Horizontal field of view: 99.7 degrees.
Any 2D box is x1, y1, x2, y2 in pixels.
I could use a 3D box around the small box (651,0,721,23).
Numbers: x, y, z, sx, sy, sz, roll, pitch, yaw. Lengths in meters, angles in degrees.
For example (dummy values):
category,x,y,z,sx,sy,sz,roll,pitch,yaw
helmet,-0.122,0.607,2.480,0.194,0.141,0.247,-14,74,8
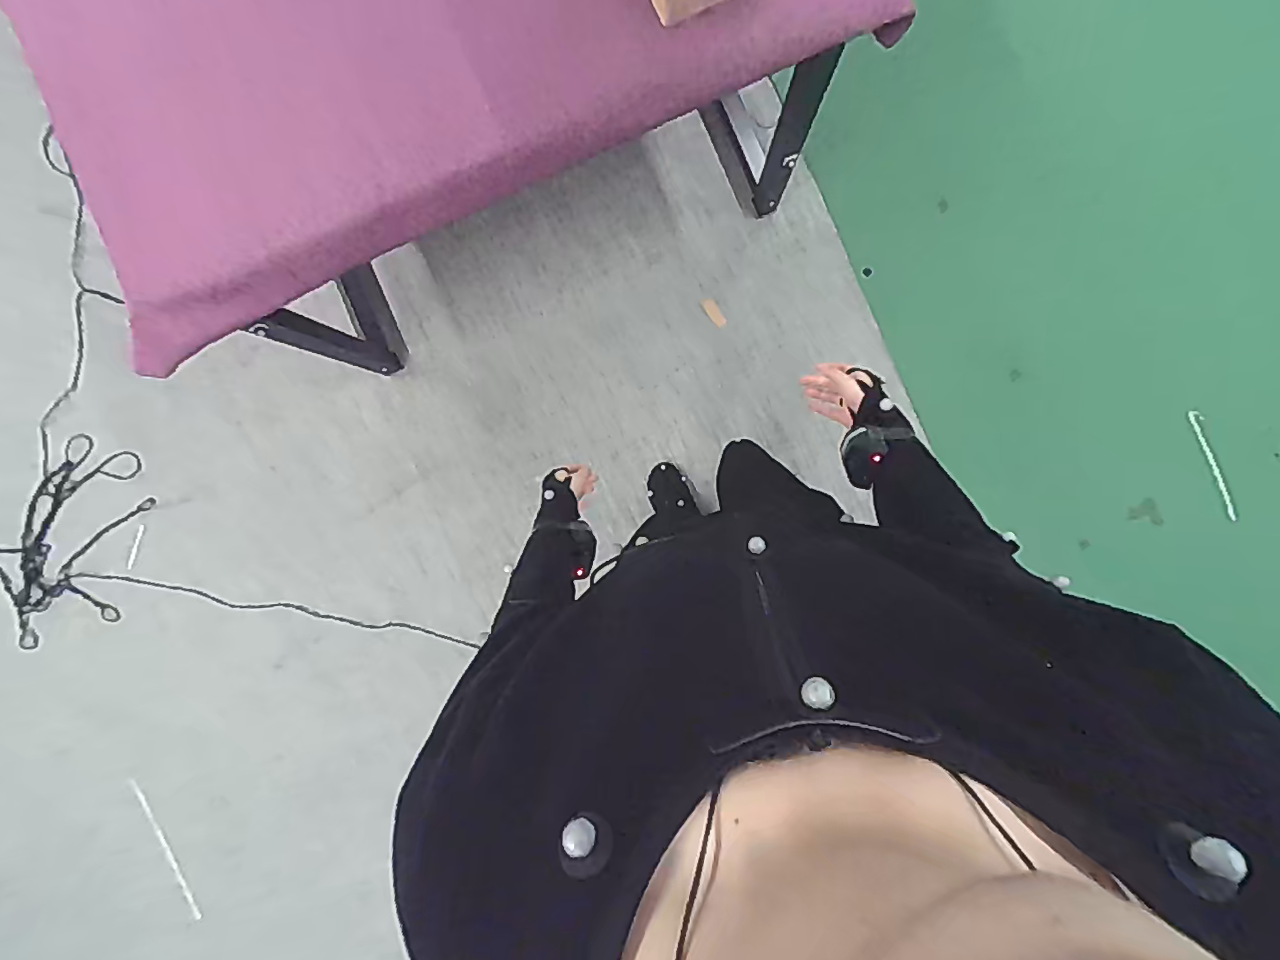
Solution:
category,x,y,z,sx,sy,sz,roll,pitch,yaw
small box,0.078,-0.741,0.675,0.179,0.176,0.168,-23,88,4
